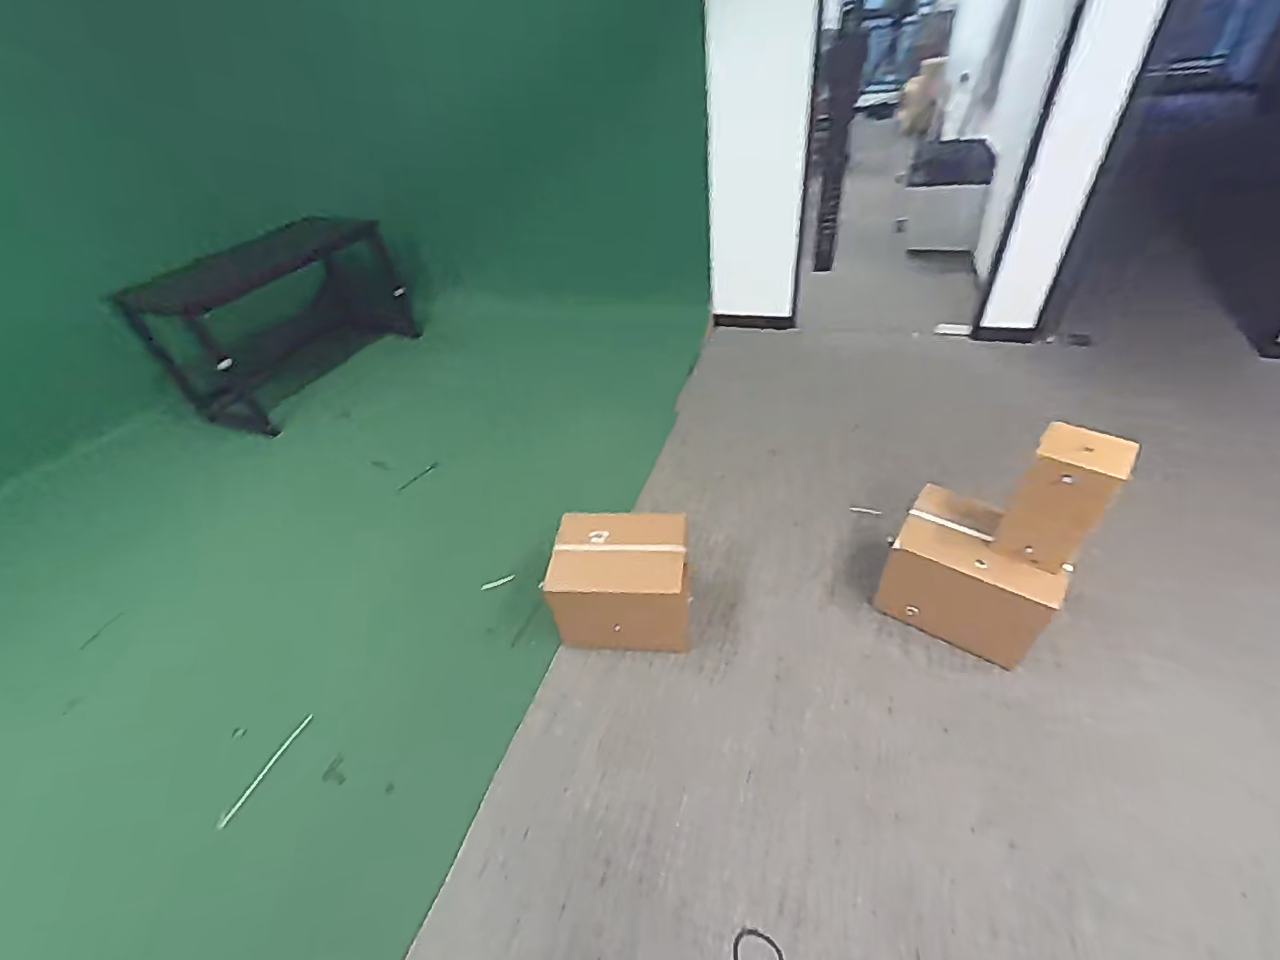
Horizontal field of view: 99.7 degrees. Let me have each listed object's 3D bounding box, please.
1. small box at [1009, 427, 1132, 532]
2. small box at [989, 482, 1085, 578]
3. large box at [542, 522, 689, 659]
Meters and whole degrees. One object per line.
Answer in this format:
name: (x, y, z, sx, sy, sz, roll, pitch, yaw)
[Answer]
small box: (1.048, 0.002, 1.323, 0.179, 0.176, 0.168, 25, 48, 33)
small box: (1.056, 0.123, 1.432, 0.168, 0.176, 0.179, 24, 48, 32)
large box: (-0.053, 0.351, 1.718, 0.408, 0.320, 0.320, -2, 40, 9)
